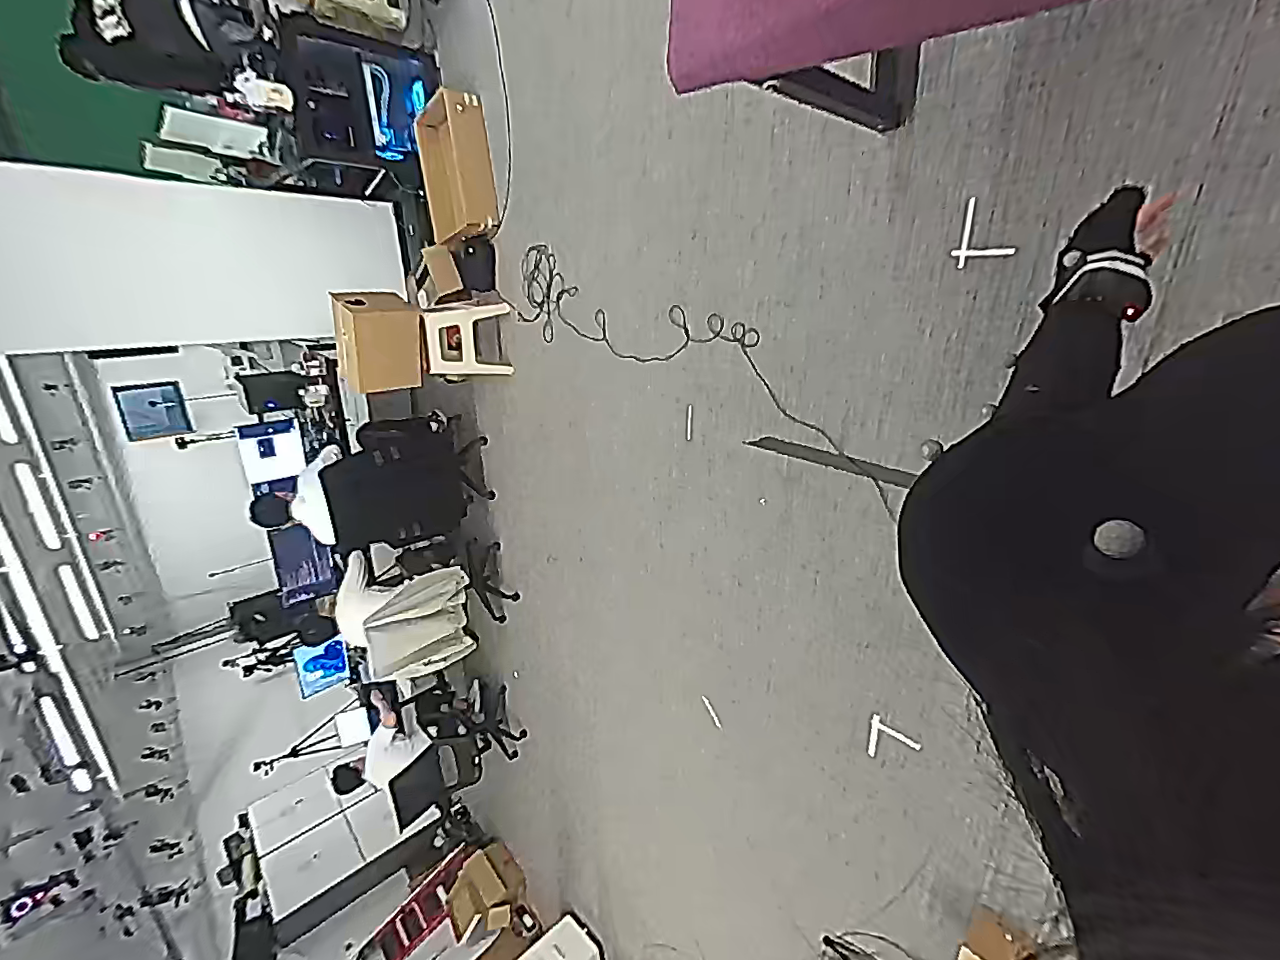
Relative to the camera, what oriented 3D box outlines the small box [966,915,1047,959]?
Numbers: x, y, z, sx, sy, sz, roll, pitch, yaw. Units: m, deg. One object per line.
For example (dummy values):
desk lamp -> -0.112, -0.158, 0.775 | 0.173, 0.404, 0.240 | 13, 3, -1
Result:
small box -> 1.065, 1.447, 1.581 | 0.168, 0.176, 0.179 | 19, 116, 45
